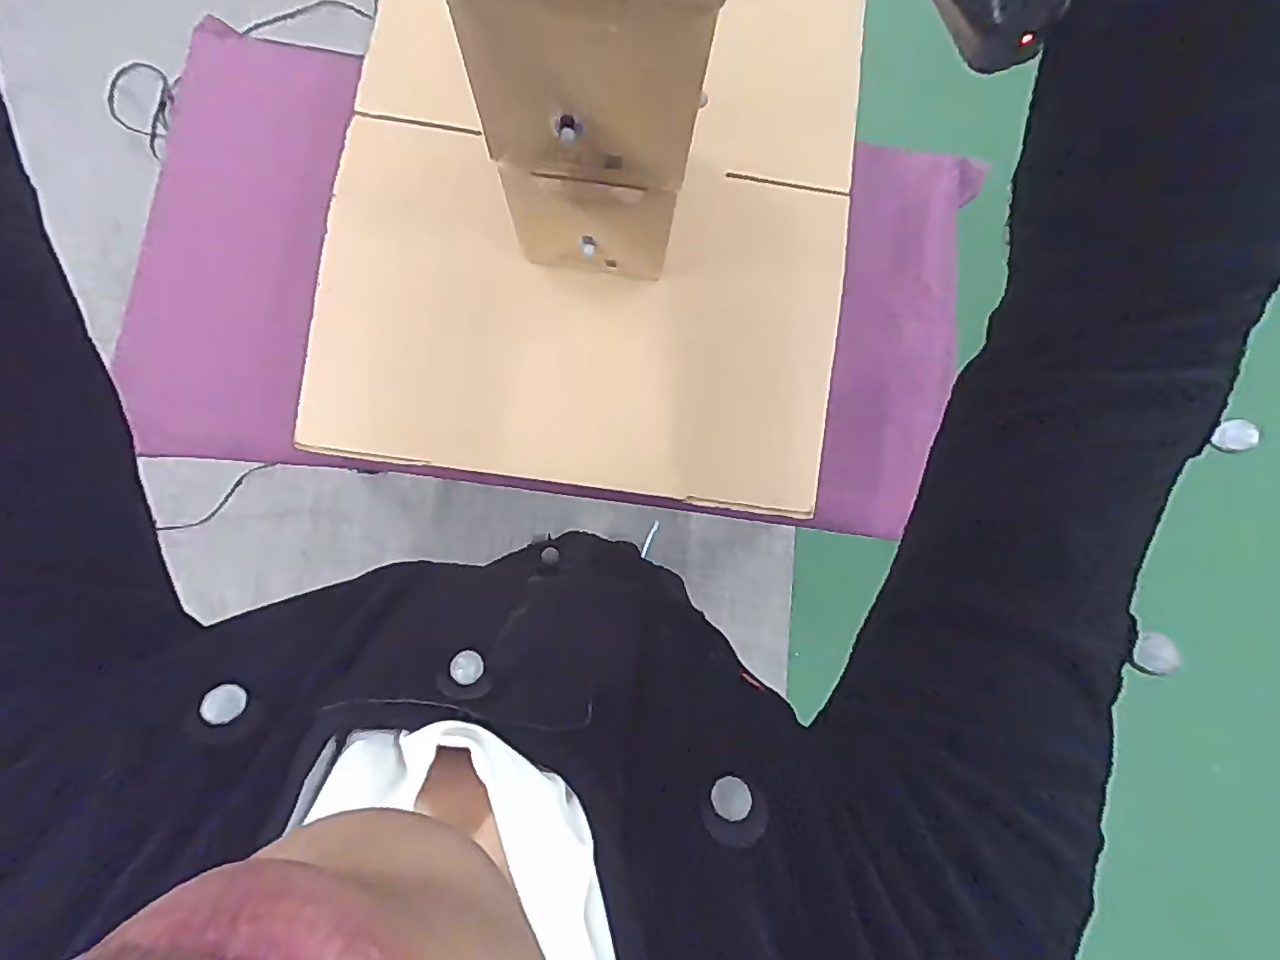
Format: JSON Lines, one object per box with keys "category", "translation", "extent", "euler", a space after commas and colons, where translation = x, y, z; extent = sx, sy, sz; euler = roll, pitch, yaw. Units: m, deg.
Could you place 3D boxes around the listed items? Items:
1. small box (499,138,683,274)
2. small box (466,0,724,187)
{"category": "small box", "translation": [-0.036, -0.347, 0.565], "extent": [0.168, 0.176, 0.179], "euler": [8, 83, -2]}
{"category": "small box", "translation": [-0.028, -0.361, 0.402], "extent": [0.168, 0.176, 0.179], "euler": [6, 83, -3]}
